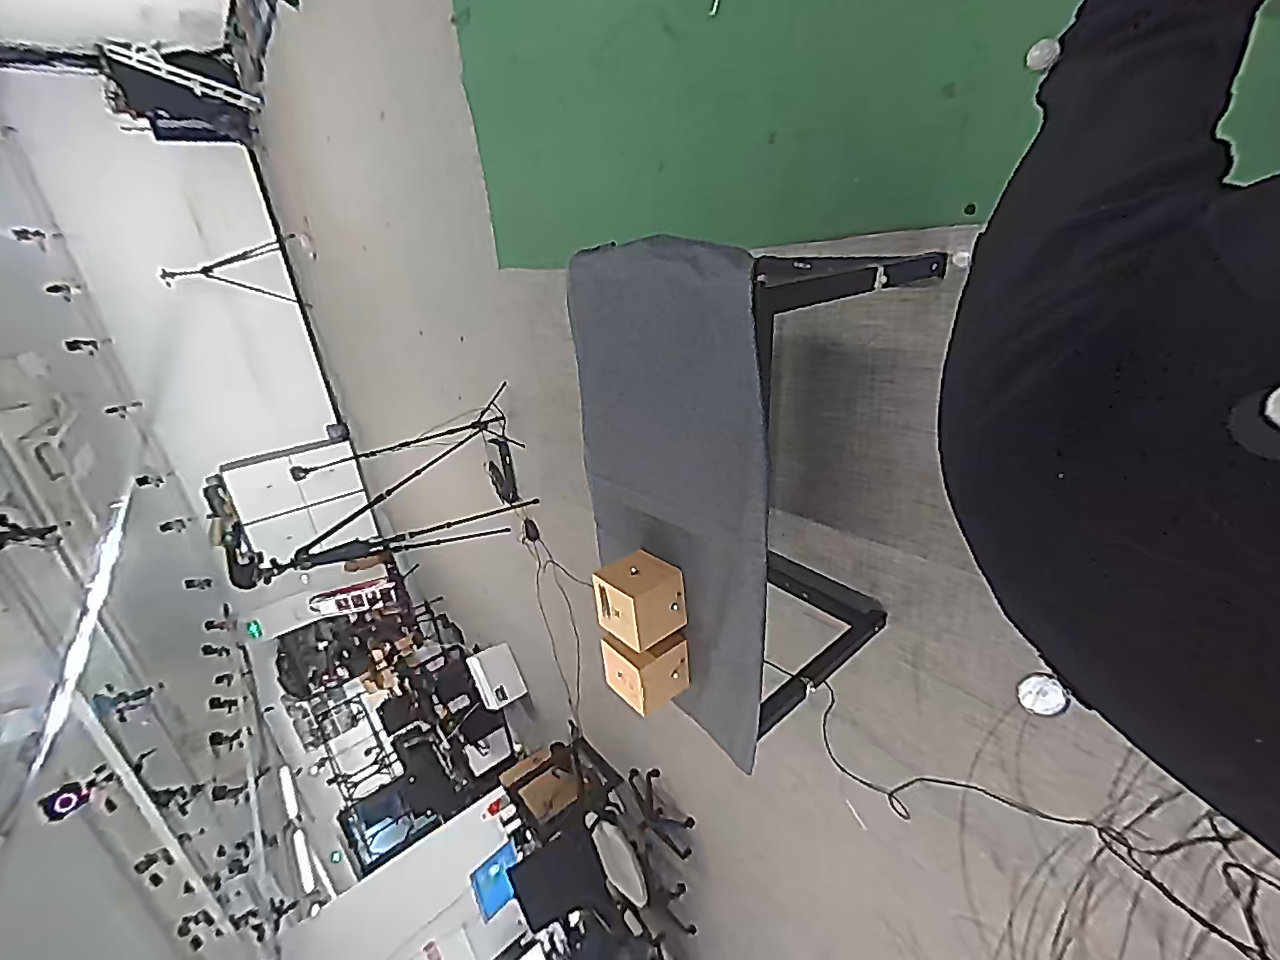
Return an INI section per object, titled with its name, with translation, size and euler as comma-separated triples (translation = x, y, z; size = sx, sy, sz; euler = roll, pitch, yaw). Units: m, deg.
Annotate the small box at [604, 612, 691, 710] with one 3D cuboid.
[small box]
translation = 0.023, 0.491, 1.504
size = 0.179, 0.176, 0.168
euler = 23, 126, 47
